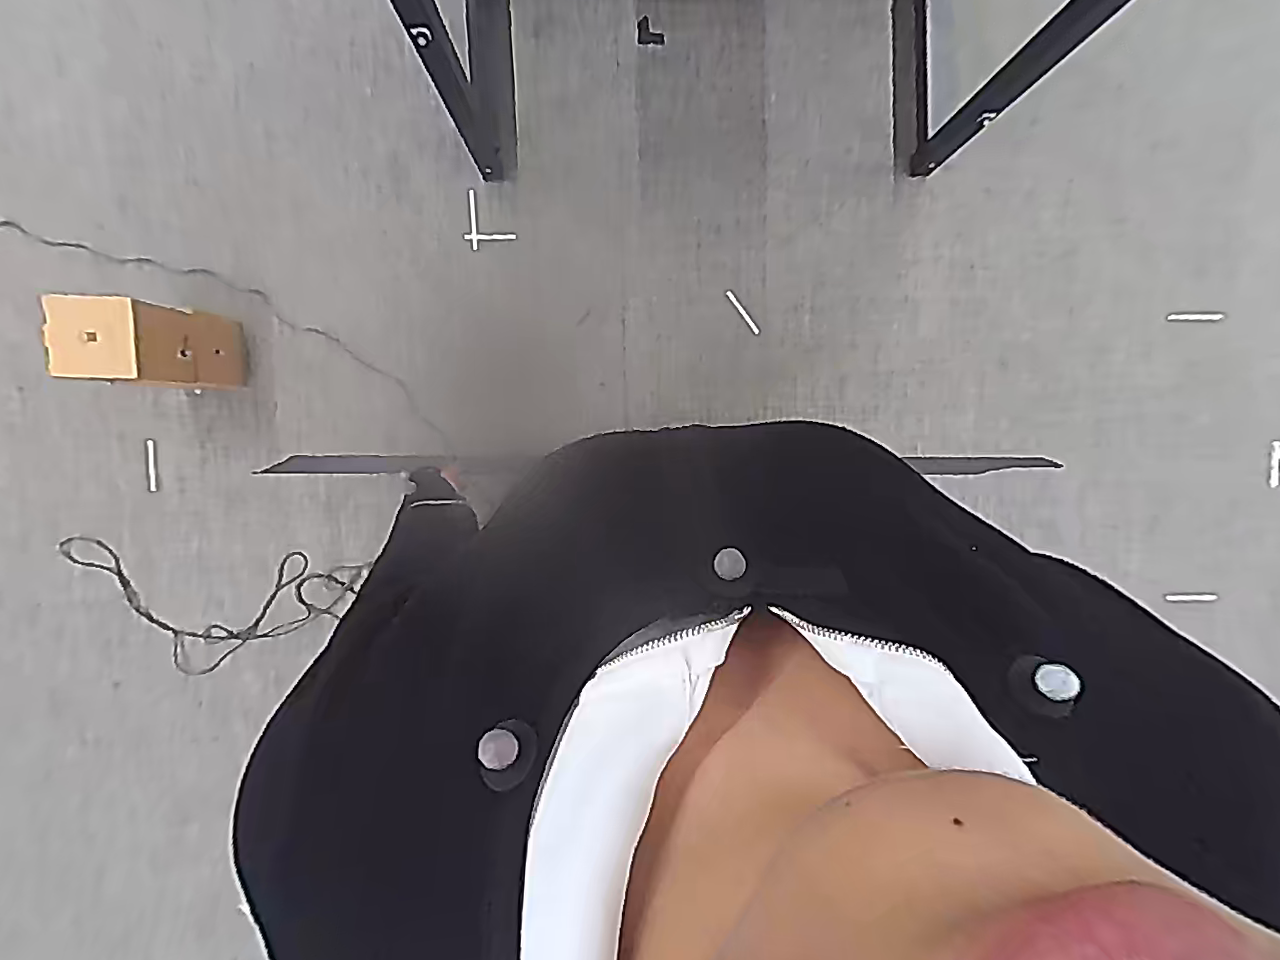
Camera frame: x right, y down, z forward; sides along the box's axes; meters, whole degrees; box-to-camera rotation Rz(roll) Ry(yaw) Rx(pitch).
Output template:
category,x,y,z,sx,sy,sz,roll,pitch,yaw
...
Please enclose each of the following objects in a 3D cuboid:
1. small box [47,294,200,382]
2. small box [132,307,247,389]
category,x,y,z,sx,sy,sz,roll,pitch,yaw
small box,-1.115,-0.302,1.180,0.179,0.176,0.168,0,97,-3
small box,-1.117,-0.323,1.342,0.168,0.176,0.179,-2,96,-2
